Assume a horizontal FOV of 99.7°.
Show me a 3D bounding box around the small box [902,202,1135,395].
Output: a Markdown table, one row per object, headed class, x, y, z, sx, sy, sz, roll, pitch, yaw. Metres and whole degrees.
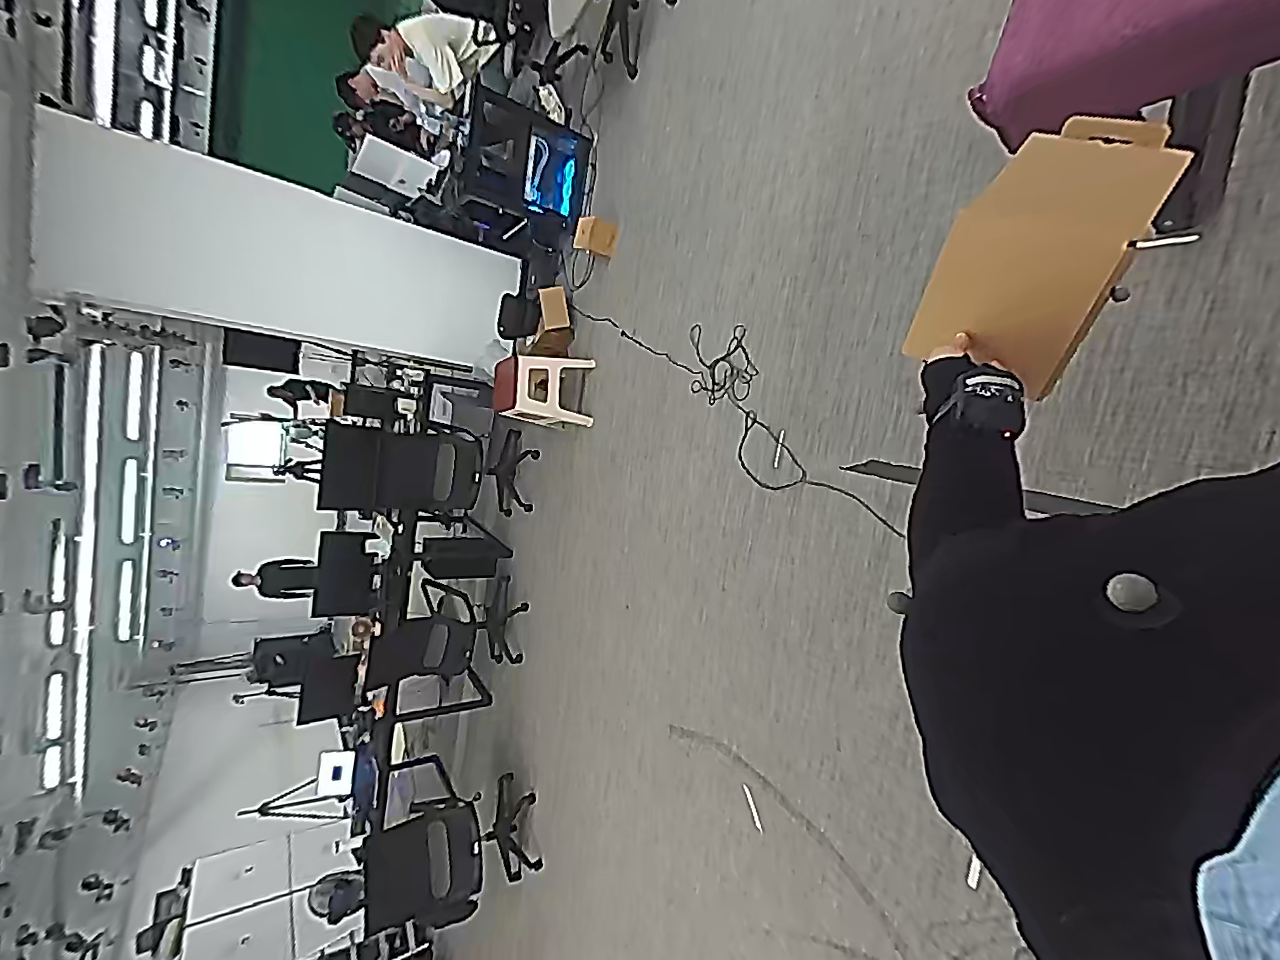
| class | x | y | z | sx | sy | sz | roll | pitch | yaw |
| --- | --- | --- | --- | --- | --- | --- | --- | --- | --- |
| small box | 0.465 | -0.222 | 0.676 | 0.168 | 0.176 | 0.179 | 33 | 120 | 31 |
